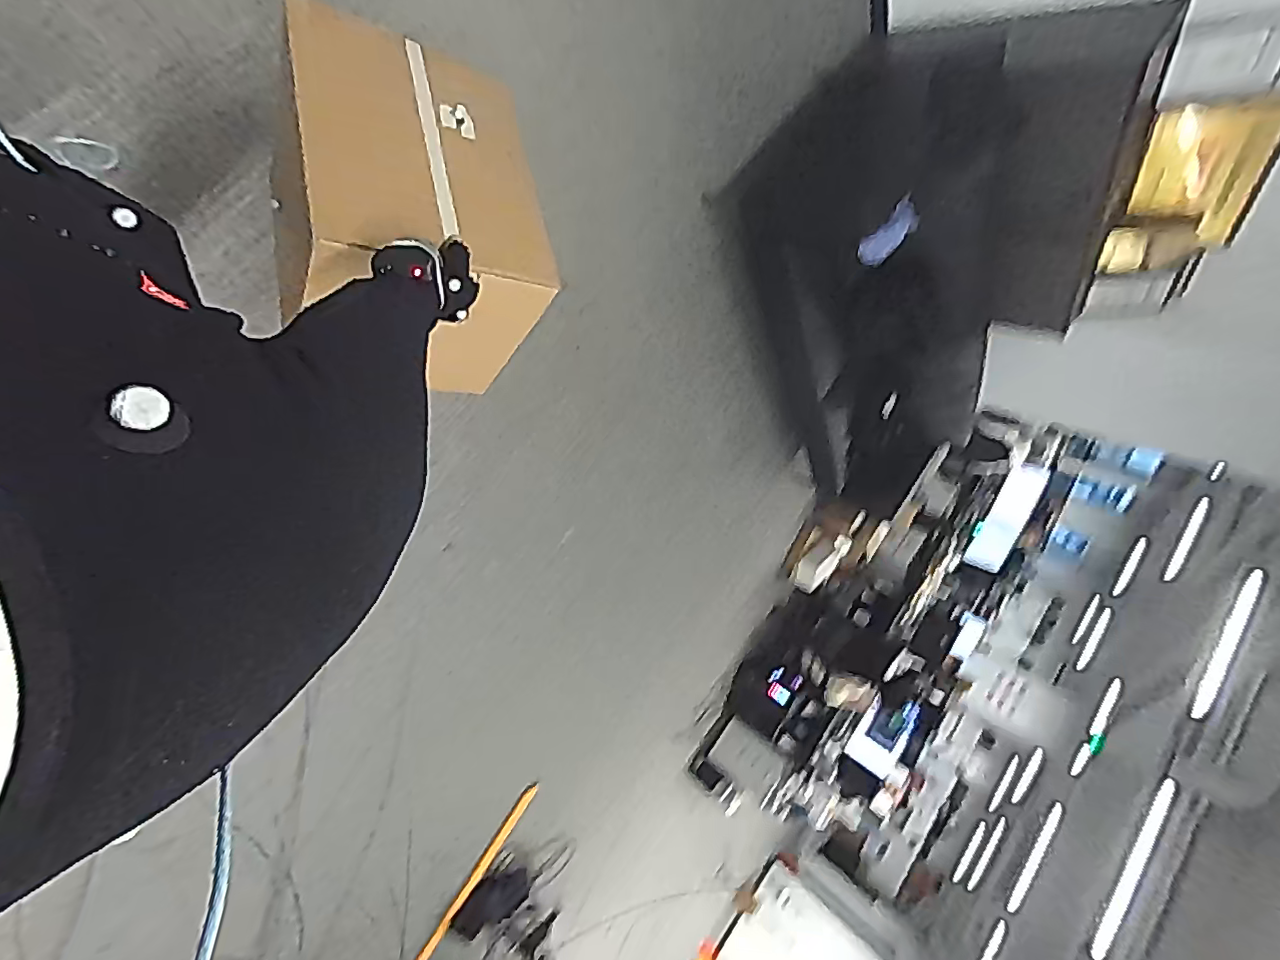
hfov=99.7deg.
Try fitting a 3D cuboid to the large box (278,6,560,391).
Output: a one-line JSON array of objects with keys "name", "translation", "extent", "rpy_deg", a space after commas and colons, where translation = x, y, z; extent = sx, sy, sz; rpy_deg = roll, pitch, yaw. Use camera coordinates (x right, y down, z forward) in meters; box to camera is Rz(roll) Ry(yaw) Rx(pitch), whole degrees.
[{"name": "large box", "translation": [-0.370, -0.391, 0.859], "extent": [0.320, 0.408, 0.320], "rpy_deg": [-2, 158, -39]}]
